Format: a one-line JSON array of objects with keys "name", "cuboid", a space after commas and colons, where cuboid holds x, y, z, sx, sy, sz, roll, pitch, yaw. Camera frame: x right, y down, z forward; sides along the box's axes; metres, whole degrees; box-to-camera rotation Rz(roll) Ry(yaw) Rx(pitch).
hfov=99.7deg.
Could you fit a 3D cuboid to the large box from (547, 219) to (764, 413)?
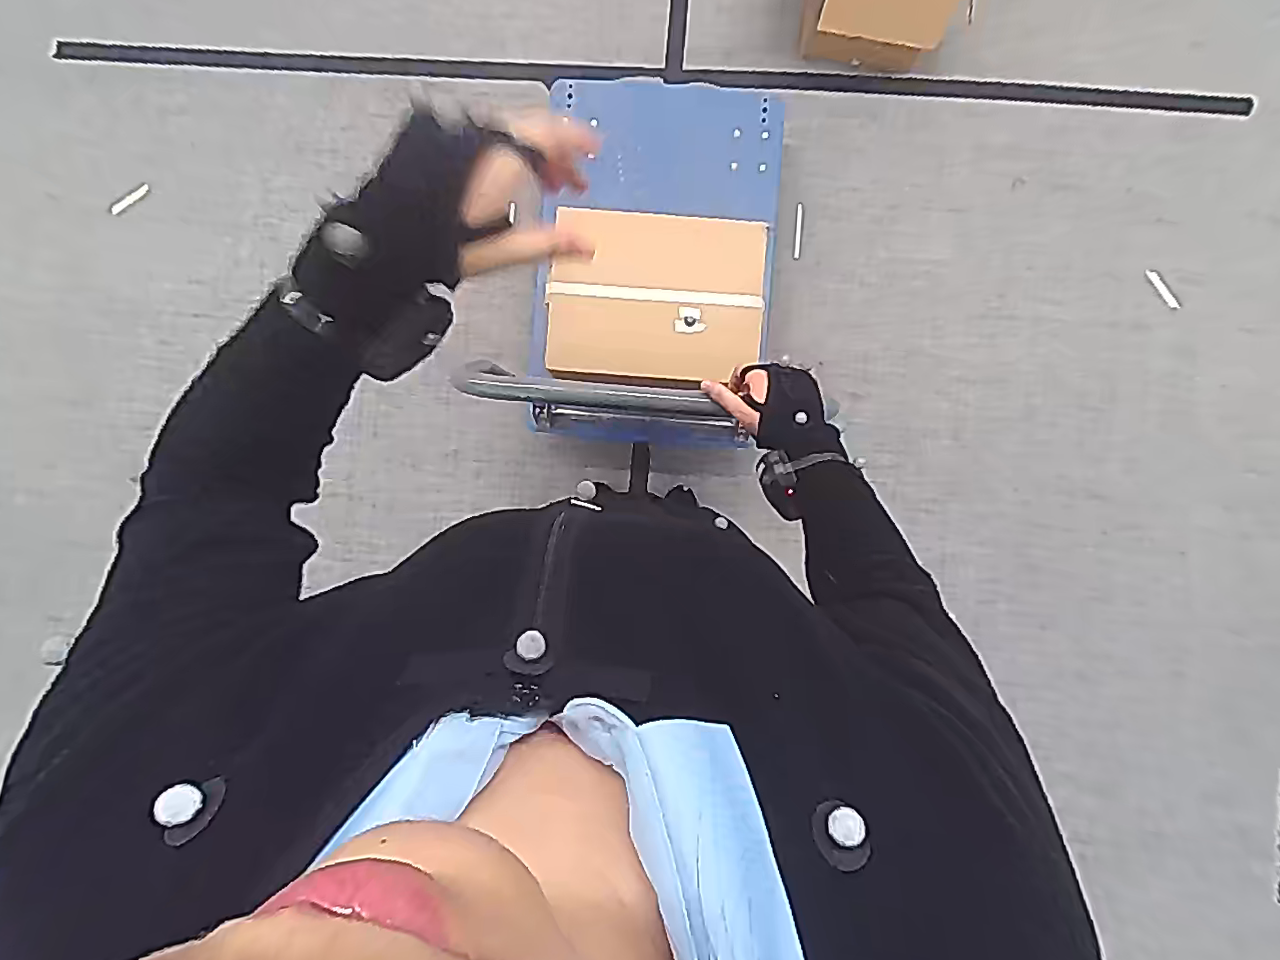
[{"name": "large box", "cuboid": [0.026, -0.330, 1.173, 0.408, 0.320, 0.320, 4, 90, -1]}]
